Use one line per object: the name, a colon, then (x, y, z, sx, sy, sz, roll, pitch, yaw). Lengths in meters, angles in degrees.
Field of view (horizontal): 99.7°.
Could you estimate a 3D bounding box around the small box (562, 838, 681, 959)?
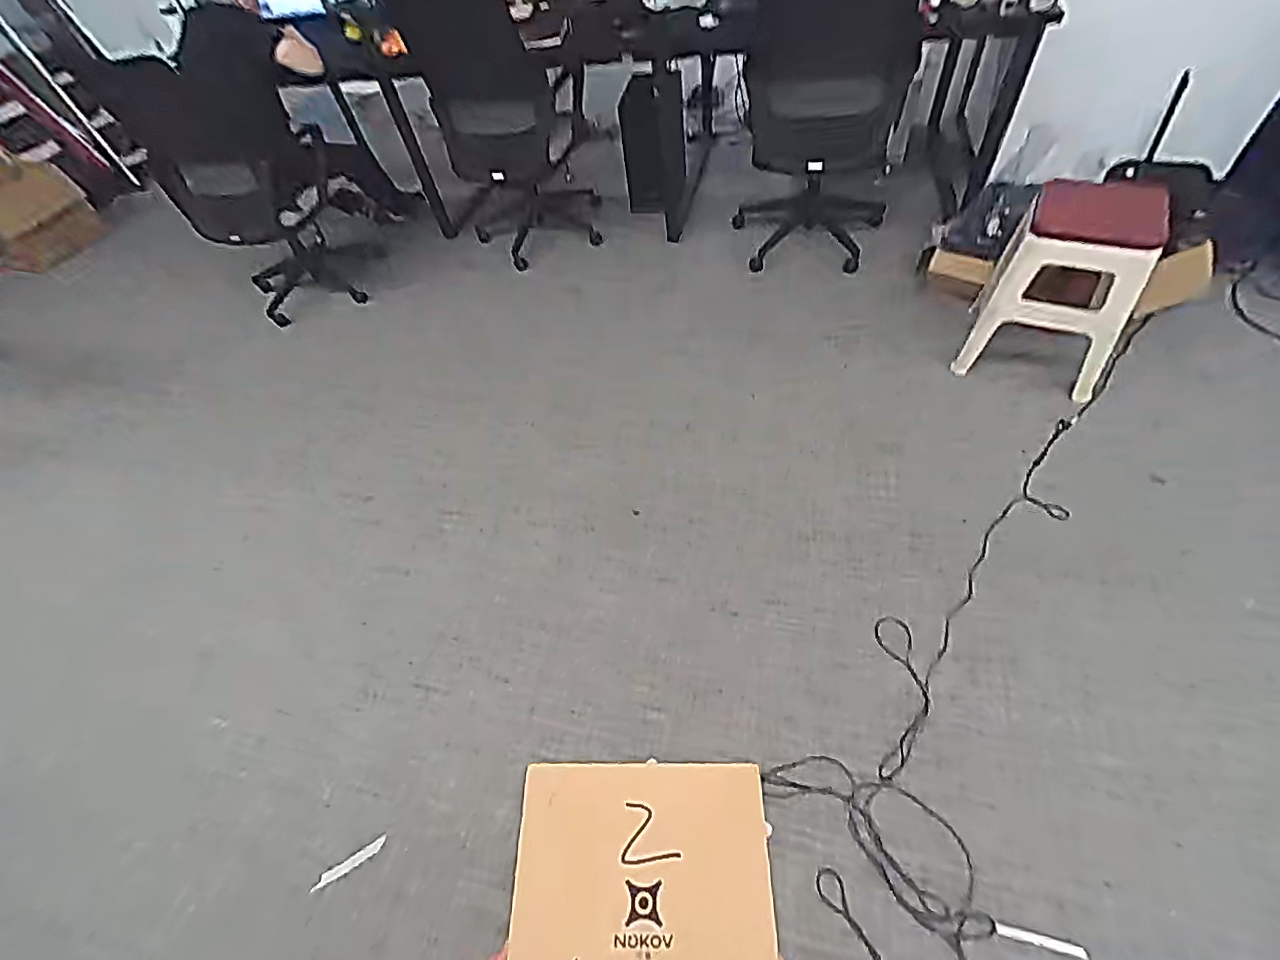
small box: (-0.021, 0.774, 0.976, 0.168, 0.176, 0.179, 5, 54, 13)
